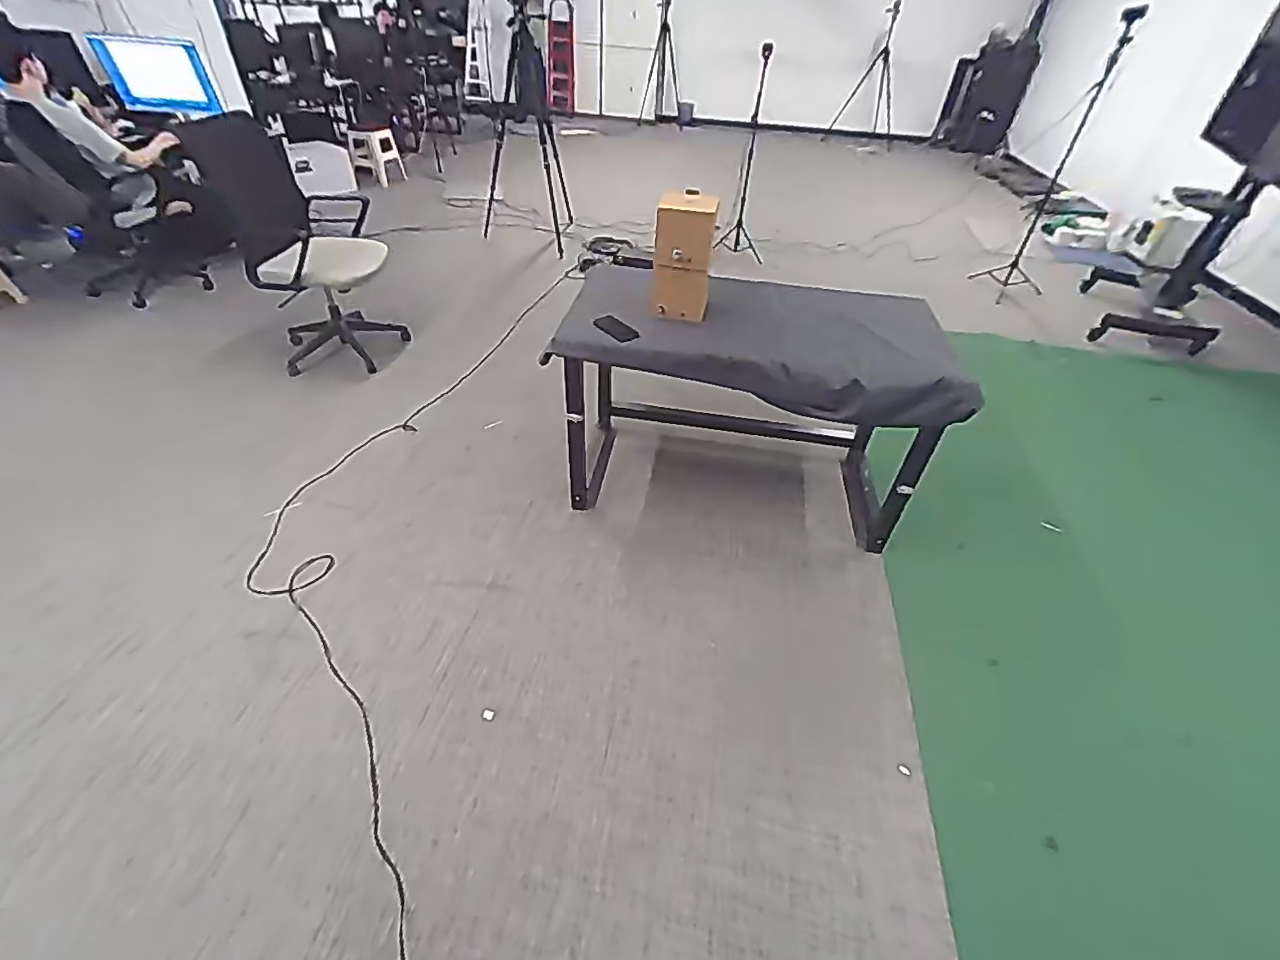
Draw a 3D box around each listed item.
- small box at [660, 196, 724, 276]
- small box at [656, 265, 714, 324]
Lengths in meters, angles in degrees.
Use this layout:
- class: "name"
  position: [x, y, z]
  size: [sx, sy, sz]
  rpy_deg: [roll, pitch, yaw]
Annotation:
- class: "small box"
  position: [0.154, -0.736, 1.630]
  size: [0.168, 0.176, 0.179]
  rpy_deg: [8, 42, 6]
- class: "small box"
  position: [0.145, -0.617, 1.740]
  size: [0.168, 0.176, 0.179]
  rpy_deg: [10, 41, 6]
